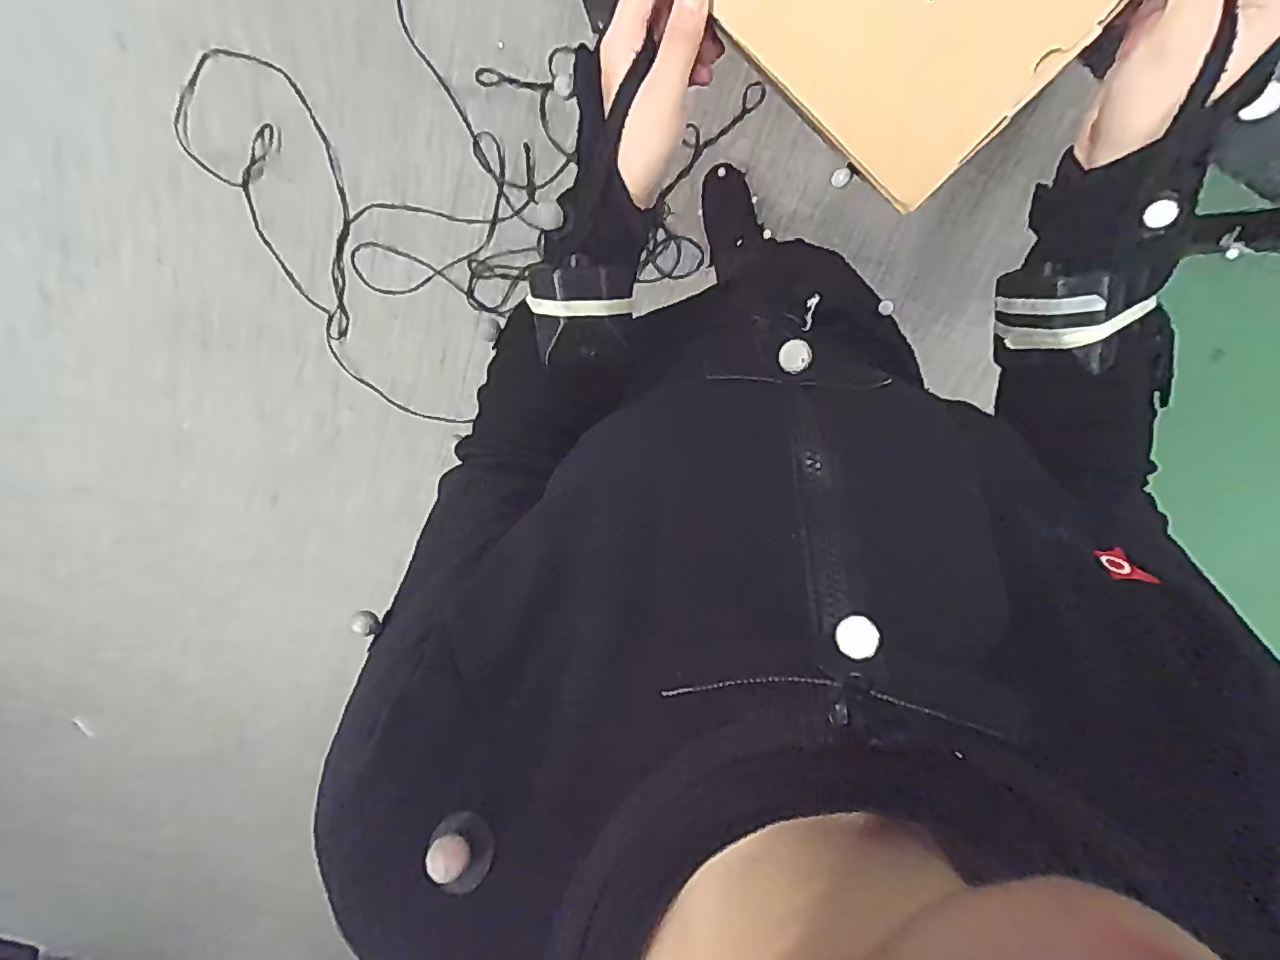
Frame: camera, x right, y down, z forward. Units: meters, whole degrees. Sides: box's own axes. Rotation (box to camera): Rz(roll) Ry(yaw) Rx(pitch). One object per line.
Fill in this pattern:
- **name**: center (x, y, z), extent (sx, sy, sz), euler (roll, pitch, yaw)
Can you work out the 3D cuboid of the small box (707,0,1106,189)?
- **small box**: center (0.145, -0.303, 0.302), extent (0.179, 0.176, 0.168), euler (33, 126, -16)
